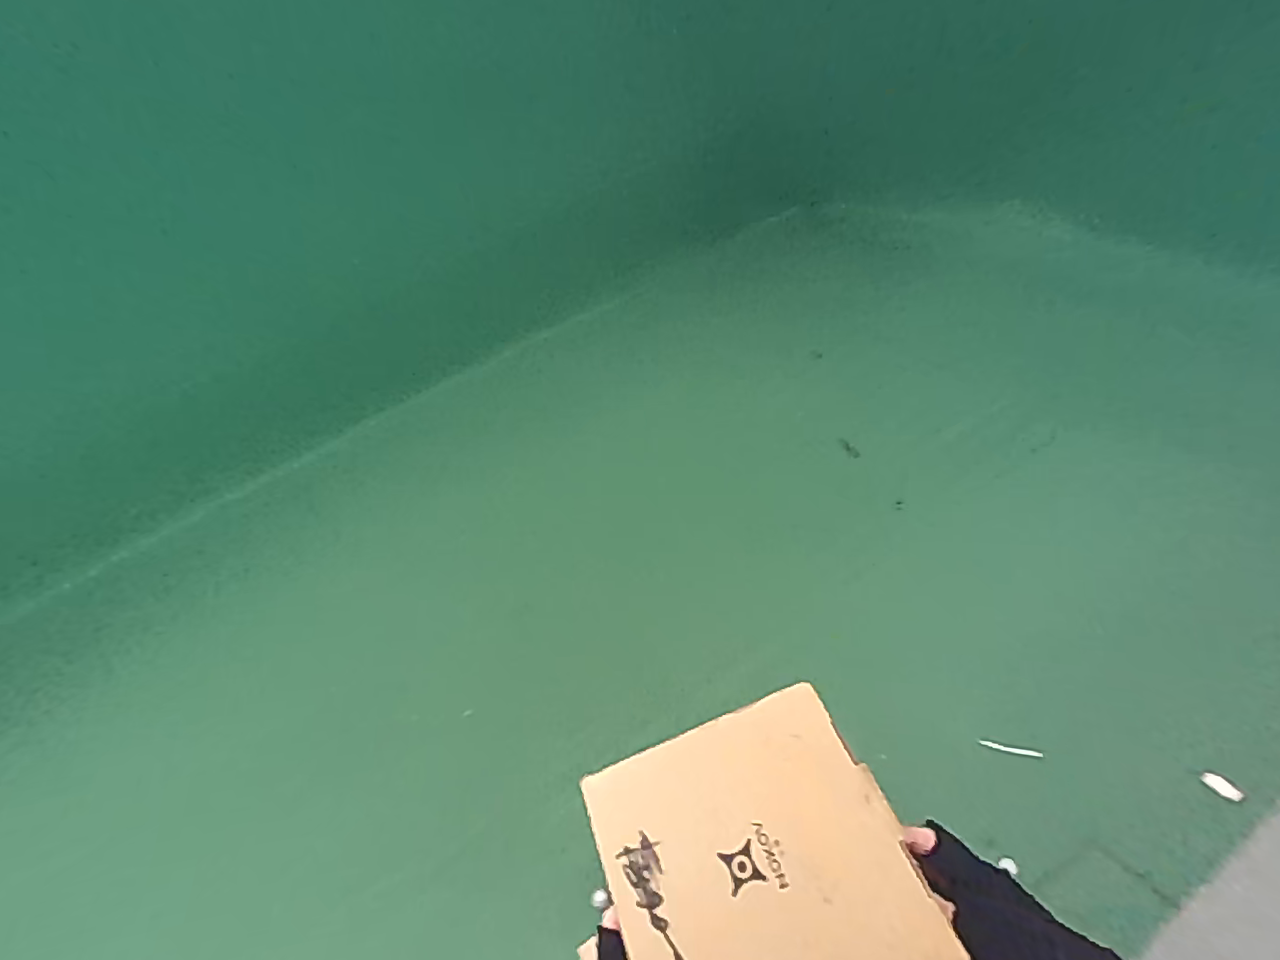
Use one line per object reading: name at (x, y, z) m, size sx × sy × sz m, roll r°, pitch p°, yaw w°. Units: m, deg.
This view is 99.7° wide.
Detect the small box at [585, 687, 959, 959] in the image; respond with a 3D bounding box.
small box at (0.074, 0.283, 0.392) m, size 0.179 × 0.176 × 0.168 m, roll -19°, pitch 51°, yaw -10°
